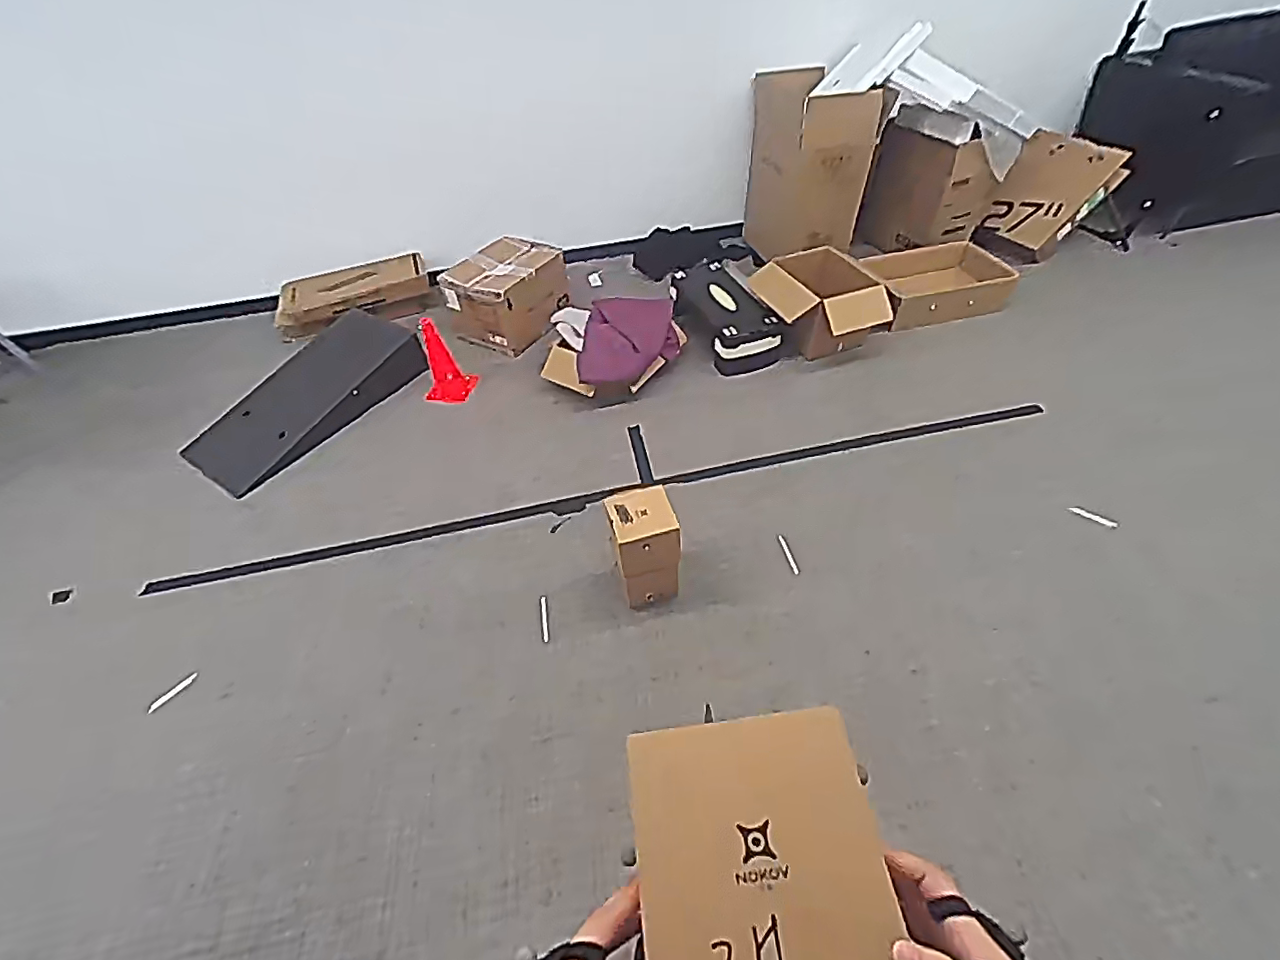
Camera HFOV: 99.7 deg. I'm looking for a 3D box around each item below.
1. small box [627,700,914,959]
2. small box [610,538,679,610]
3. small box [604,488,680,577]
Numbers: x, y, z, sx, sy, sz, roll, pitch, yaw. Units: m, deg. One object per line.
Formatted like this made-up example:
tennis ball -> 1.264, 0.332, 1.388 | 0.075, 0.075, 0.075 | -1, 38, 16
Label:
small box -> 0.084, 0.294, 0.427 | 0.168, 0.176, 0.179 | -9, 54, 1
small box -> 0.015, 0.269, 1.660 | 0.168, 0.176, 0.179 | -17, 49, -9
small box -> 0.008, 0.154, 1.542 | 0.179, 0.176, 0.168 | -15, 48, -8
